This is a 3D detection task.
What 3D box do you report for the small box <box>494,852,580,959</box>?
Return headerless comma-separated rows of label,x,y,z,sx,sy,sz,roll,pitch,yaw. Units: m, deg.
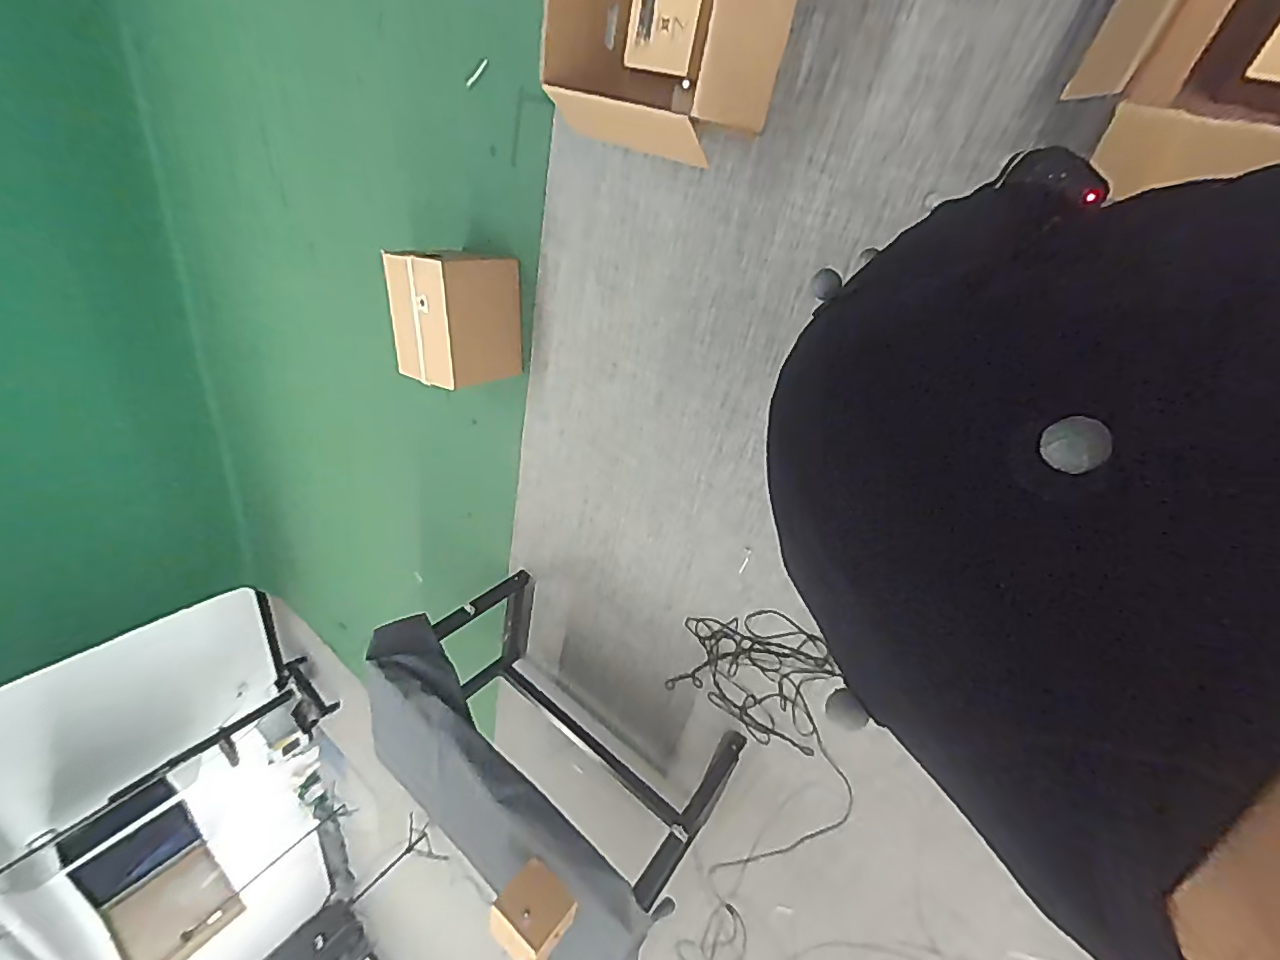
small box,-0.292,1.218,1.540,0.179,0.176,0.168,30,125,26
